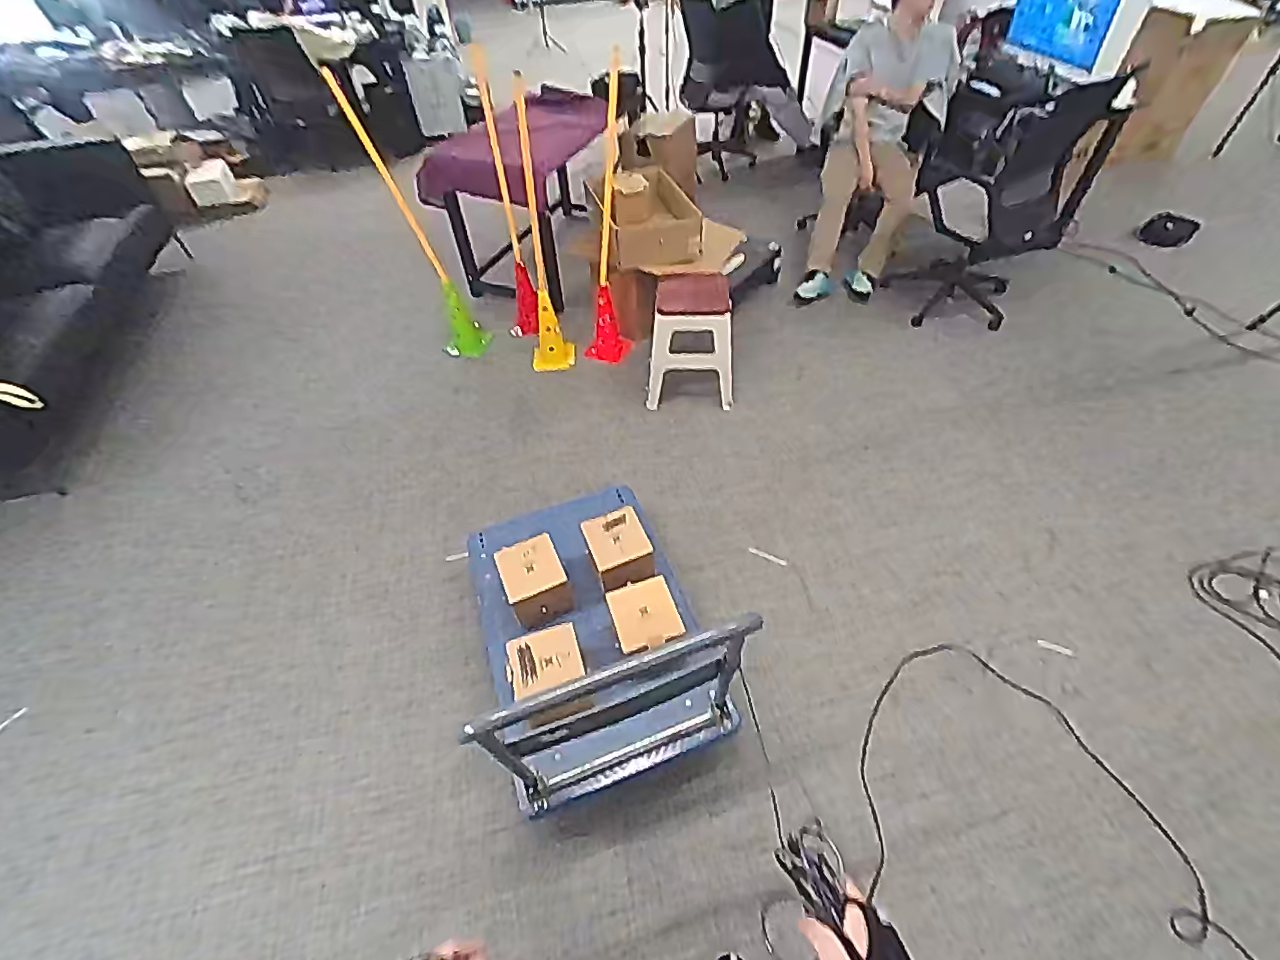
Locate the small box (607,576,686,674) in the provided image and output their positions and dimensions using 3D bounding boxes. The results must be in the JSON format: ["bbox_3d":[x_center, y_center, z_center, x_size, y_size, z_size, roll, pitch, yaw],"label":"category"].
[{"bbox_3d":[0.015,0.390,1.449,0.168,0.176,0.179,-16,52,-9],"label":"small box"}]

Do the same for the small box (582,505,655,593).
[{"bbox_3d":[-0.063,0.210,1.604,0.168,0.176,0.179,-20,53,-11],"label":"small box"}]
